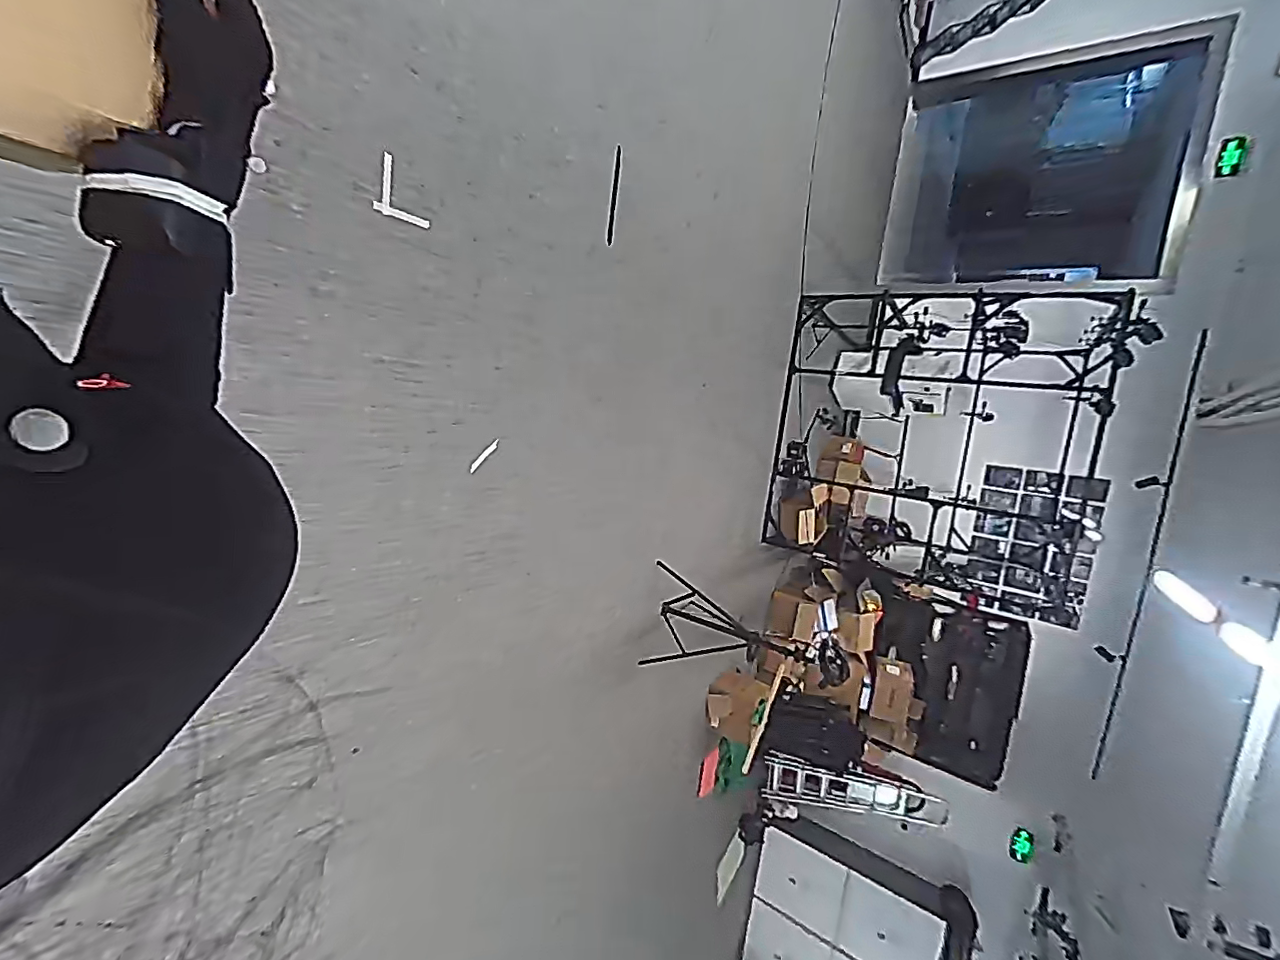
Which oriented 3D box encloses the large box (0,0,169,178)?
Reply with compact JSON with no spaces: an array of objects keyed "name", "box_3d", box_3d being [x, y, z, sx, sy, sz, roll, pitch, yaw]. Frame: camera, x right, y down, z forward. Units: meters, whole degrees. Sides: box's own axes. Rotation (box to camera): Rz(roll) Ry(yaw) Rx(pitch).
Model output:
[{"name":"large box","box_3d":[-0.559,-0.409,0.287,0.408,0.320,0.320,-4,113,-59]}]
